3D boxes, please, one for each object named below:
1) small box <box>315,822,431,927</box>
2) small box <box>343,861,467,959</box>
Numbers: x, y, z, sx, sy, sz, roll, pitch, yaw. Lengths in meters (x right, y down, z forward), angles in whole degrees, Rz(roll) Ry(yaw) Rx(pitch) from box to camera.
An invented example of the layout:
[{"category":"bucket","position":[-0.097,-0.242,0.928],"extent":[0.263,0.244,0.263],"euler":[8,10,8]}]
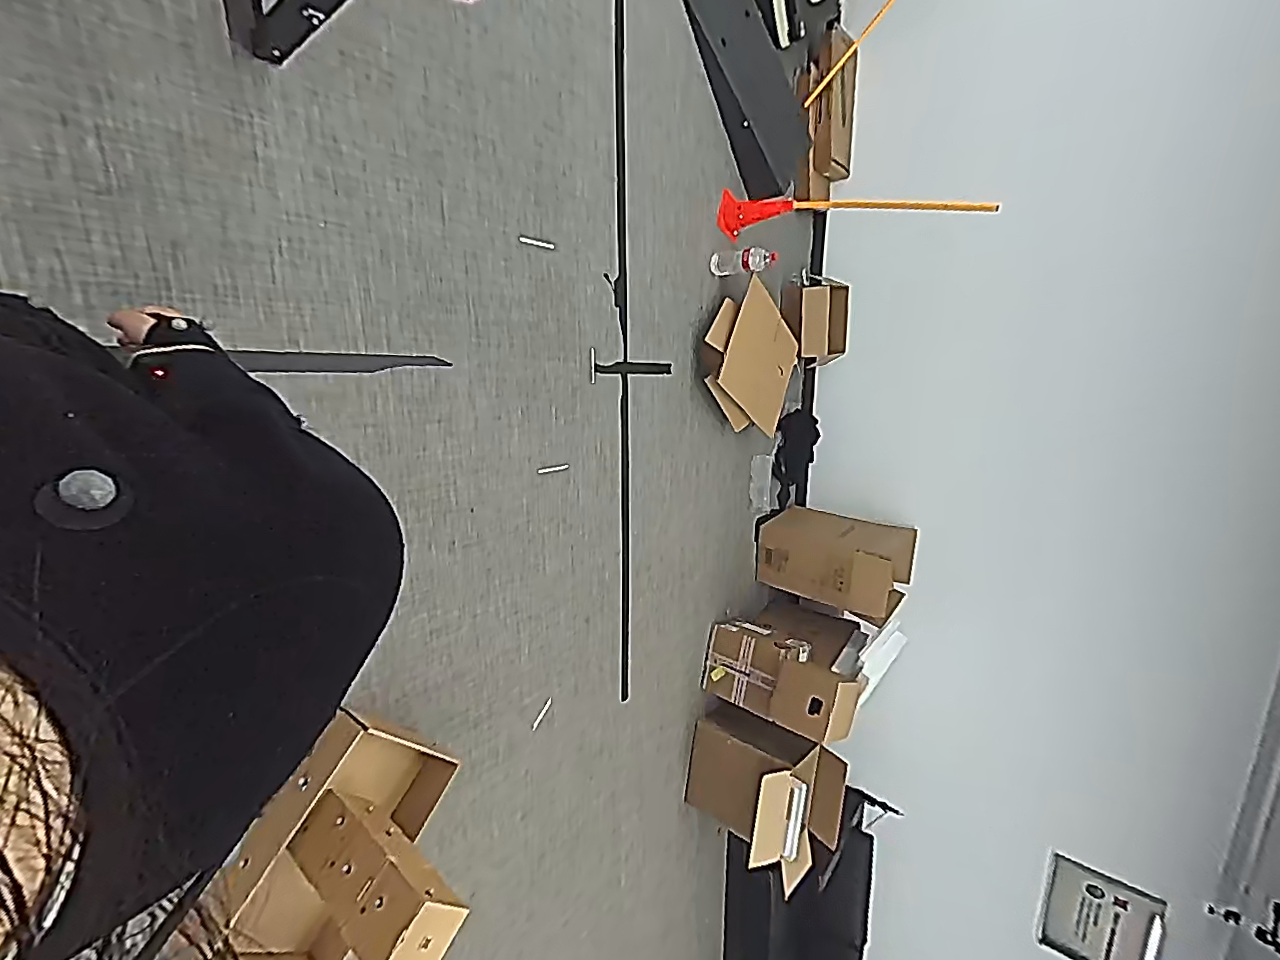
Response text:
[{"category":"small box","position":[-0.688,1.018,1.390],"extent":[0.168,0.176,0.179],"euler":[-56,137,-26]},{"category":"small box","position":[-0.560,1.052,1.293],"extent":[0.168,0.176,0.179],"euler":[-57,138,-26]}]
